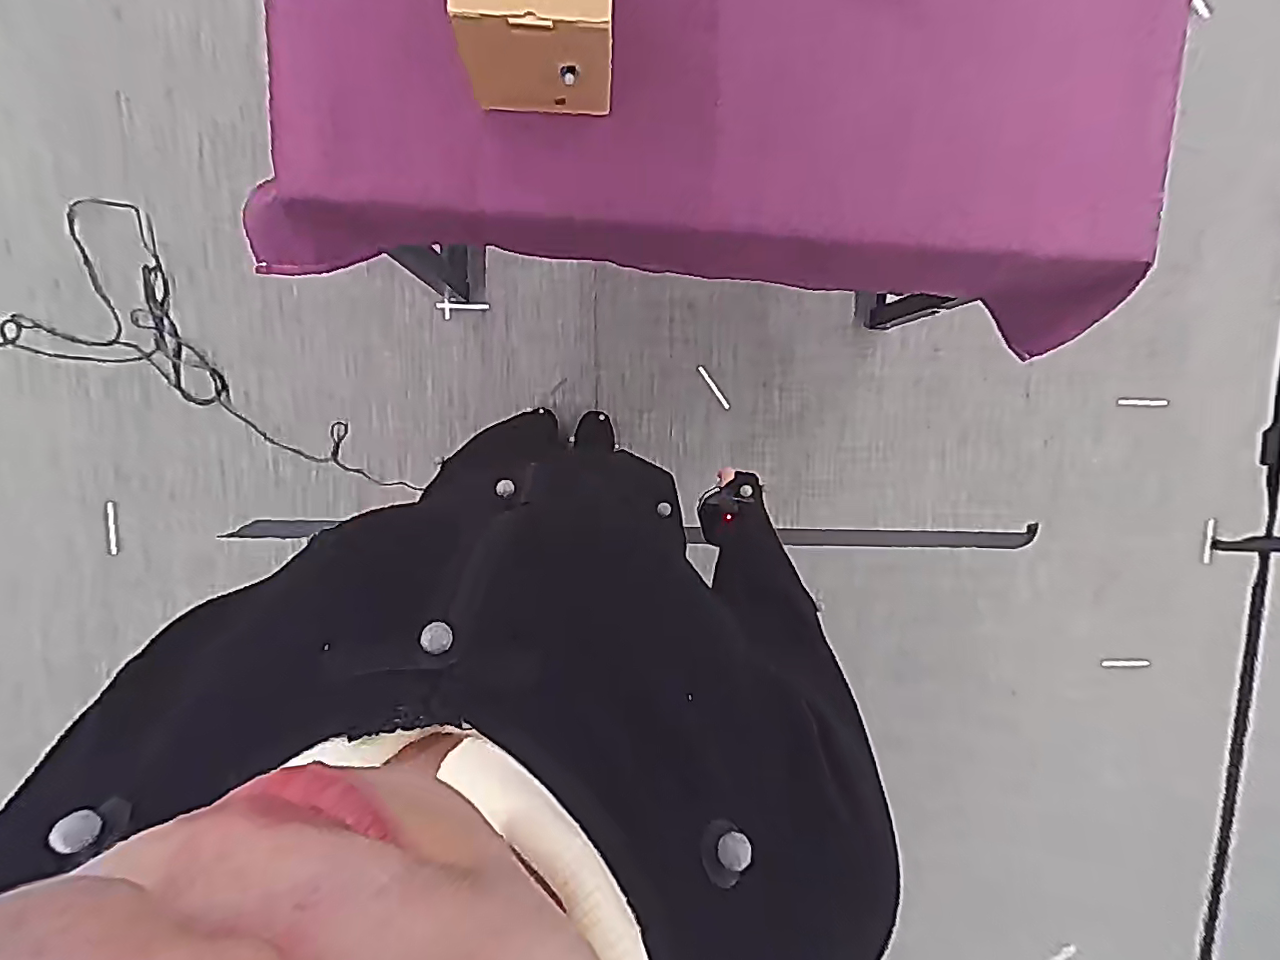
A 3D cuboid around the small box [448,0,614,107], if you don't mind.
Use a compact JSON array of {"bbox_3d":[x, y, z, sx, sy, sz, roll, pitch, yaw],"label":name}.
[{"bbox_3d":[-0.112,-0.558,0.609,0.168,0.176,0.179,1,96,-5],"label":"small box"}]
